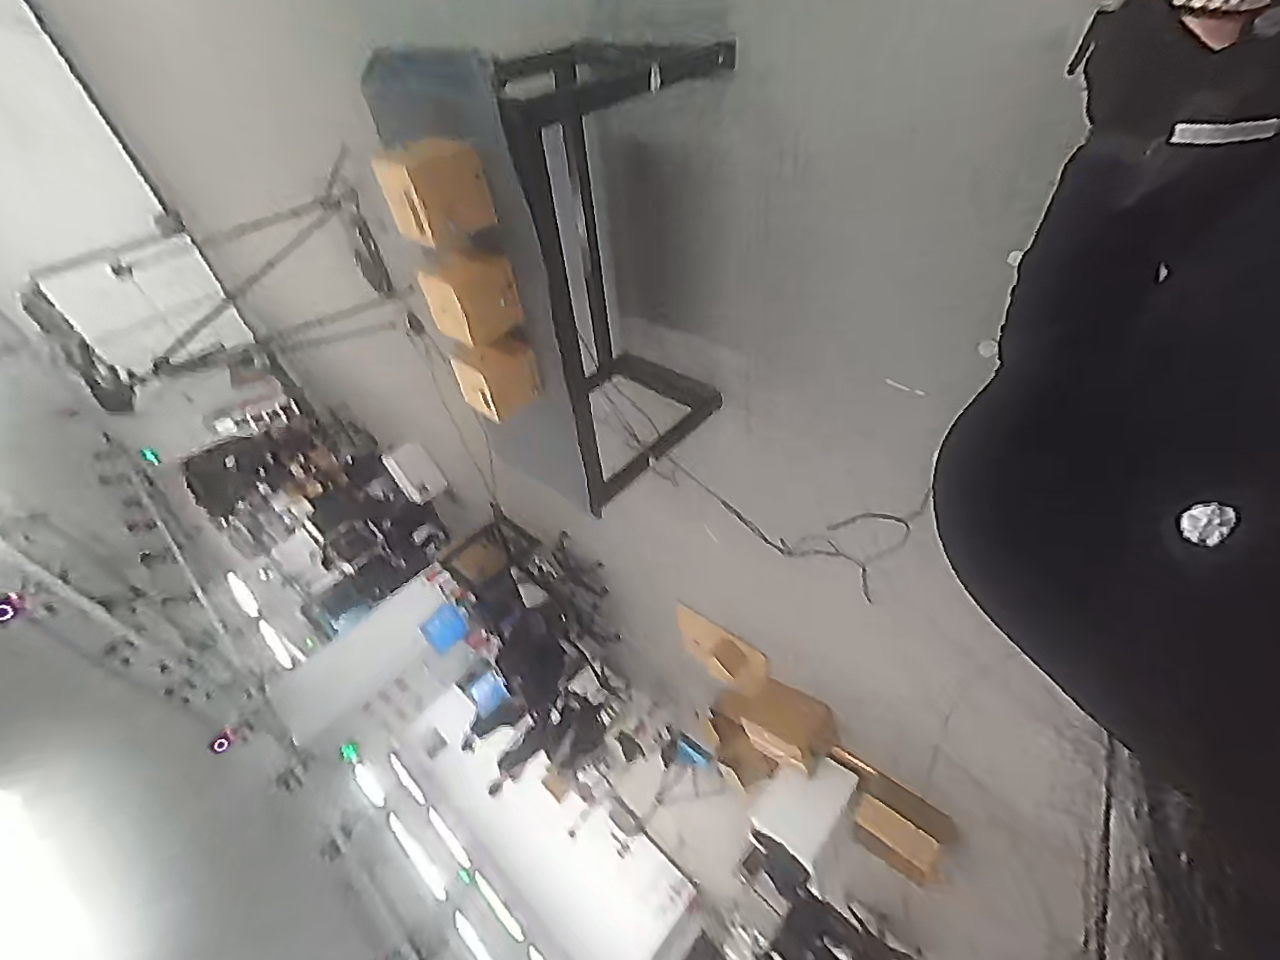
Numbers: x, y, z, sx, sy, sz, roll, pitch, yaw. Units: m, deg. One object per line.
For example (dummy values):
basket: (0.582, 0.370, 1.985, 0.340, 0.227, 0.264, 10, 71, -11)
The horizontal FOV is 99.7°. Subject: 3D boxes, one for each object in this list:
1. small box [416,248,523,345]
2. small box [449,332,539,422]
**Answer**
small box: (-0.426, -0.473, 1.375, 0.179, 0.176, 0.168, 30, 145, 32)
small box: (-0.406, -0.300, 1.544, 0.179, 0.176, 0.168, 32, 146, 31)
